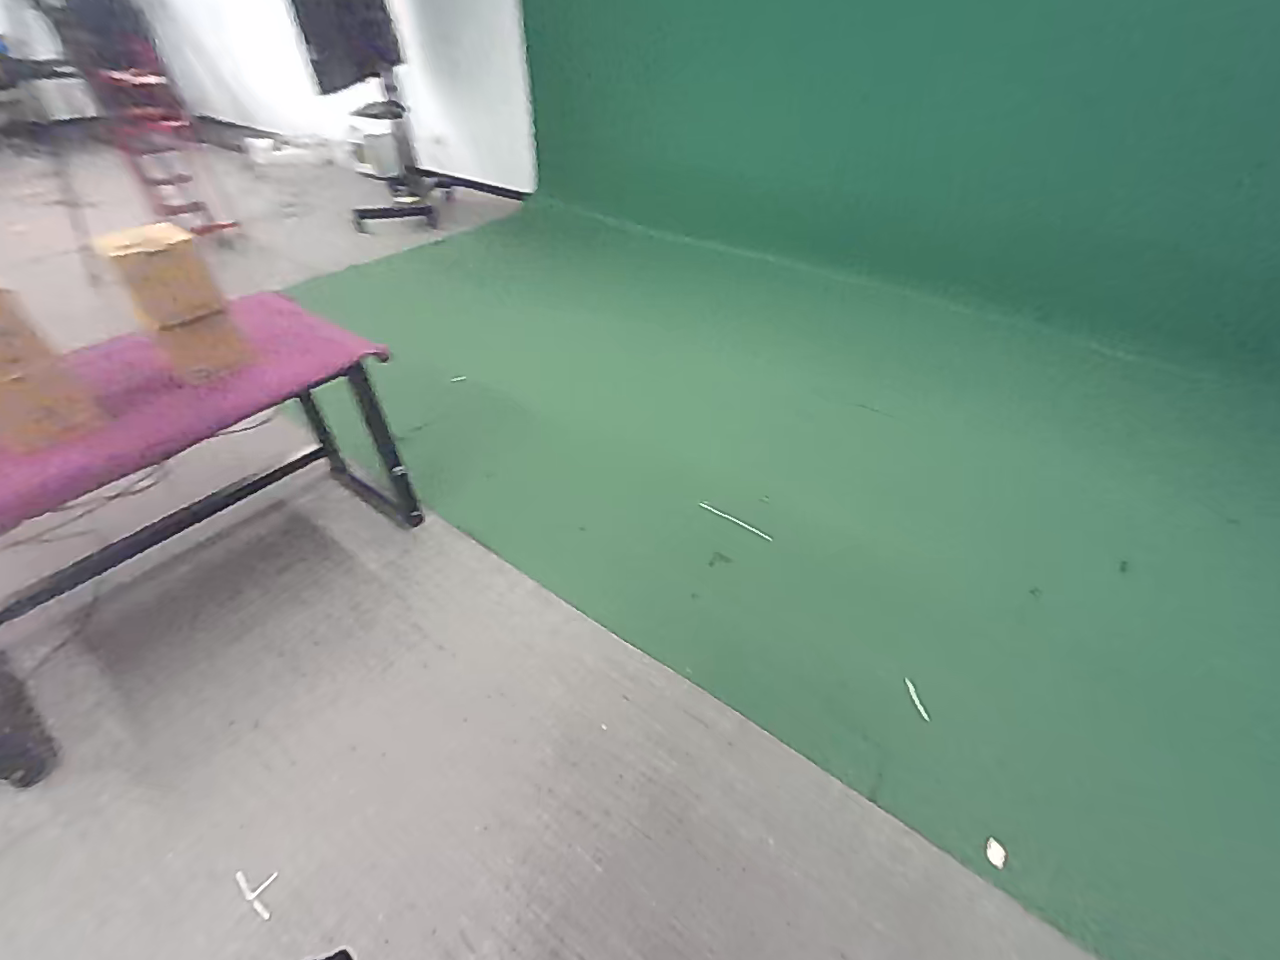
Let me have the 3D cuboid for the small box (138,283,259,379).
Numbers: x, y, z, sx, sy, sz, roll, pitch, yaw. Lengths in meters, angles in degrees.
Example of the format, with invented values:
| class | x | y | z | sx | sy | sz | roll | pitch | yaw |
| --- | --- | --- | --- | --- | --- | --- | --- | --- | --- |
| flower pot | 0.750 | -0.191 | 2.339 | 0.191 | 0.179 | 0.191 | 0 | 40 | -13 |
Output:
| class | x | y | z | sx | sy | sz | roll | pitch | yaw |
| --- | --- | --- | --- | --- | --- | --- | --- | --- | --- |
| small box | -1.133 | -0.383 | 1.399 | 0.179 | 0.176 | 0.168 | 32 | 49 | 29 |

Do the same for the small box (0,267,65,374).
| class | x | y | z | sx | sy | sz | roll | pitch | yaw |
| --- | --- | --- | --- | --- | --- | --- | --- | --- | --- |
| small box | -1.331 | -0.320 | 1.091 | 0.179 | 0.176 | 0.168 | 30 | 50 | 28 |
